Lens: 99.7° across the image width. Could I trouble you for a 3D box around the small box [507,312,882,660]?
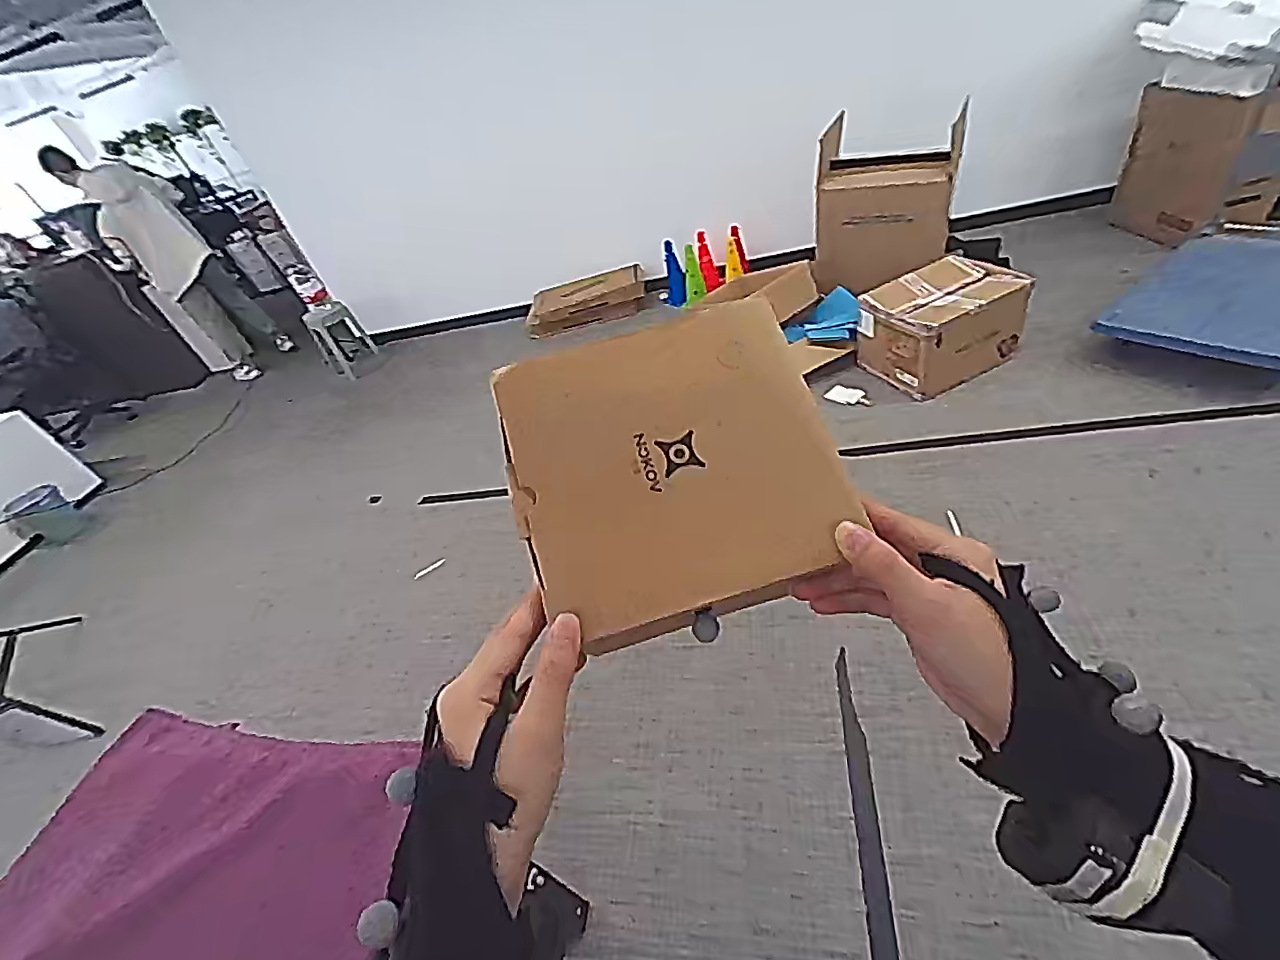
[{"bbox_3d":[0.027,0.018,0.378,0.179,0.176,0.168,-16,72,-3],"label":"small box"}]
